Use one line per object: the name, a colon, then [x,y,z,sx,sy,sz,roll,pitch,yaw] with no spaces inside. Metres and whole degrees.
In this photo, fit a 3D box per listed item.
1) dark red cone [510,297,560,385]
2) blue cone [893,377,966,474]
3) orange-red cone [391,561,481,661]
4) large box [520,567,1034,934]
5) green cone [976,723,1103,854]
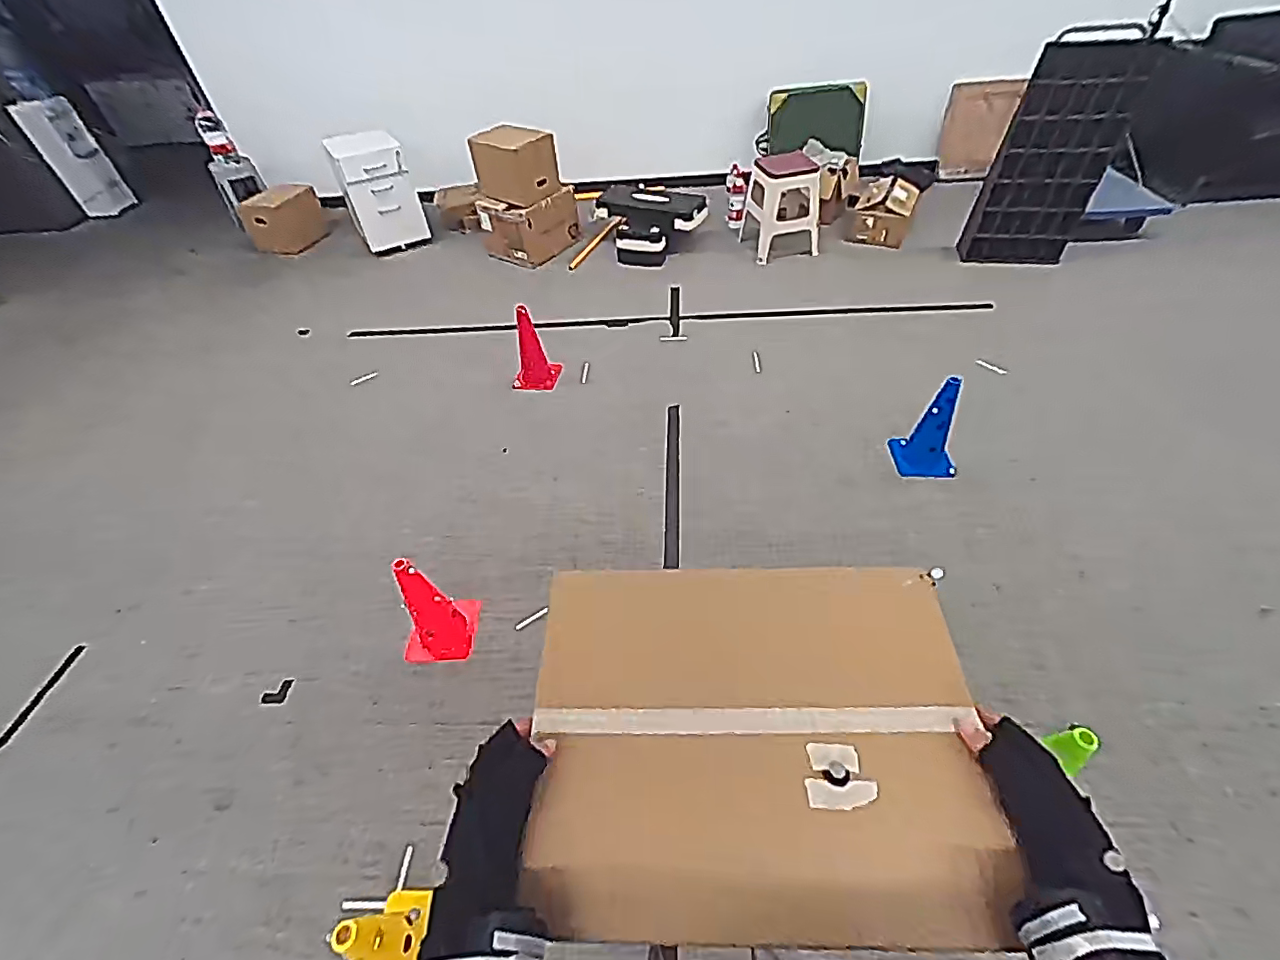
dark red cone: [-0.493,-0.618,2.394,0.201,0.394,0.202,4,47,7]
blue cone: [1.051,-0.202,1.911,0.192,0.380,0.193,2,47,6]
orange-red cone: [-0.610,0.344,1.527,0.198,0.360,0.199,-4,48,3]
large box: [0.109,0.312,0.622,0.408,0.320,0.320,-1,53,3]
green cone: [0.856,0.605,1.141,0.202,0.368,0.200,-29,51,-22]
